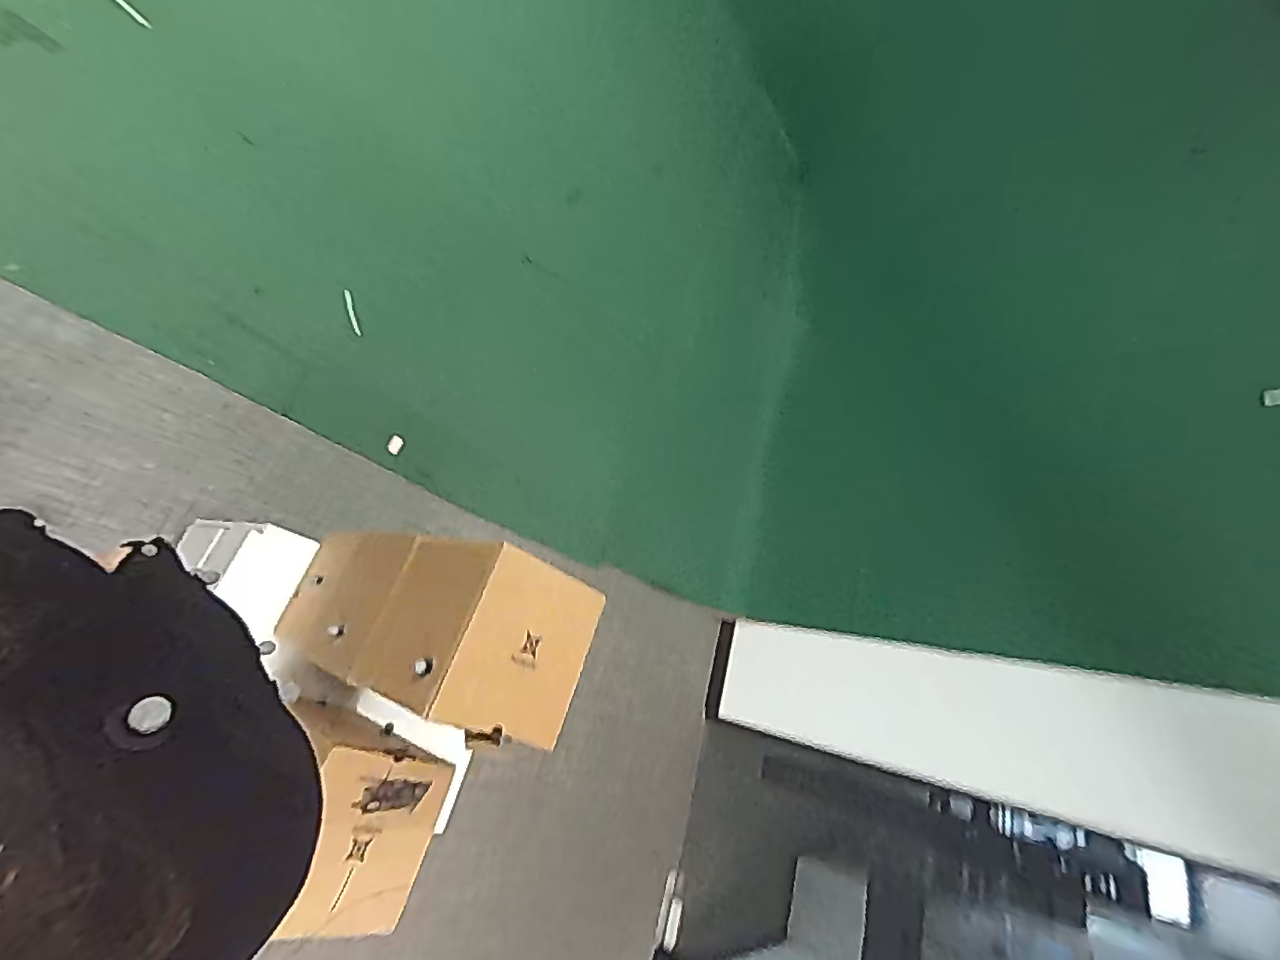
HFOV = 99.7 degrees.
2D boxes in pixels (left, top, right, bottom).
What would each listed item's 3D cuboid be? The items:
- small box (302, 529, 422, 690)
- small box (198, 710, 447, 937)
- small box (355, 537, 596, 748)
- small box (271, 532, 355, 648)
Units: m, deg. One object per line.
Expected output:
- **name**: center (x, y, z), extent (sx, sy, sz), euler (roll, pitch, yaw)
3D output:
- **small box**: center (-0.312, 0.177, 0.716), extent (0.168, 0.176, 0.179), euler (38, 61, -42)
- **small box**: center (-0.371, 0.390, 0.636), extent (0.168, 0.176, 0.179), euler (41, 59, -40)
- **small box**: center (-0.185, 0.175, 0.613), extent (0.168, 0.176, 0.179), euler (40, 61, -41)
- **small box**: center (-0.424, 0.187, 0.834), extent (0.179, 0.176, 0.168), euler (39, 63, -41)
